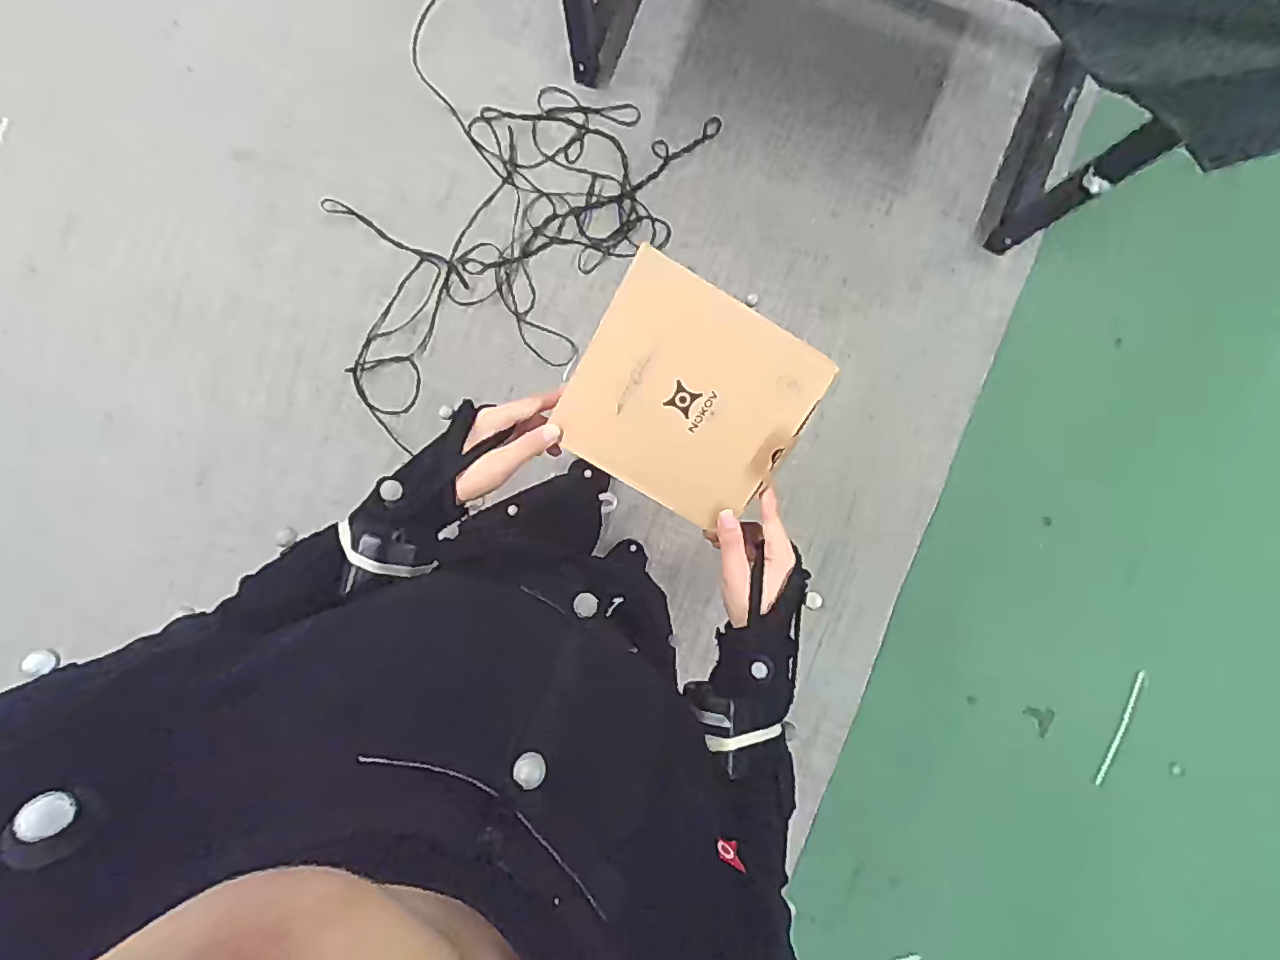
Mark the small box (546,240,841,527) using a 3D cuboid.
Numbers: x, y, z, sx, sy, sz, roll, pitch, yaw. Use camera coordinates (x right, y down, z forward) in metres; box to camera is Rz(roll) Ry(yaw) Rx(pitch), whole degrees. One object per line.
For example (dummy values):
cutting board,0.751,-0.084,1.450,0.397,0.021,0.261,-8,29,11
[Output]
small box,0.044,-0.090,0.493,0.179,0.176,0.168,29,106,-3
